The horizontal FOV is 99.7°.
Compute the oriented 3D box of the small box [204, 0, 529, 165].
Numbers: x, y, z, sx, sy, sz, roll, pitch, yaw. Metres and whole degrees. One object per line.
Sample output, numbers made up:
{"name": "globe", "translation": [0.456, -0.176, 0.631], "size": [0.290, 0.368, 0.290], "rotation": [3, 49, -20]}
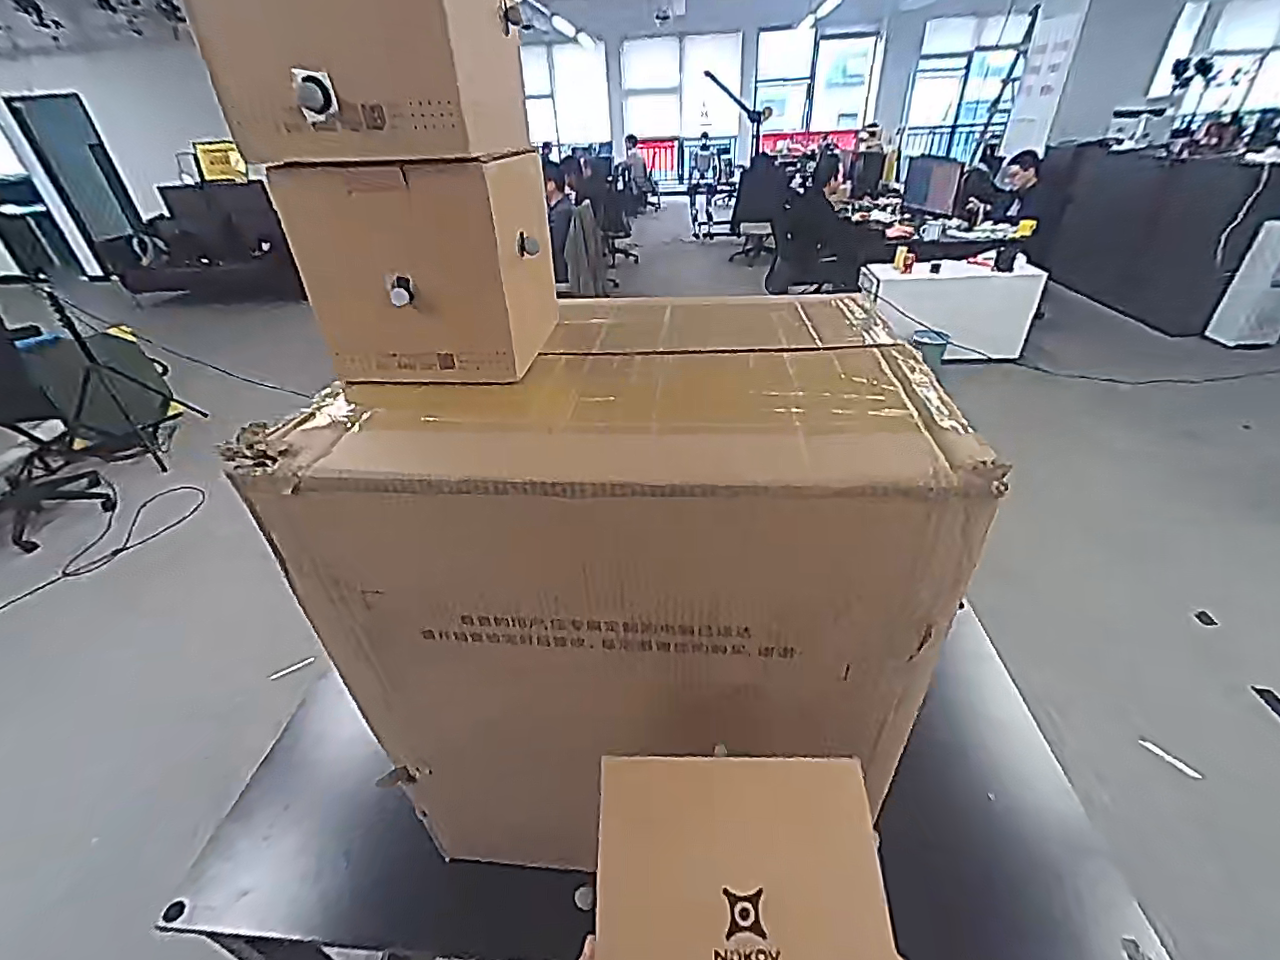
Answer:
{"name": "small box", "translation": [-0.185, -0.329, 0.391], "size": [0.168, 0.176, 0.179], "rotation": [-1, 34, 4]}

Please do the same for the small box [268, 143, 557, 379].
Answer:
{"name": "small box", "translation": [-0.176, -0.200, 0.491], "size": [0.168, 0.176, 0.179], "rotation": [1, 34, 4]}
